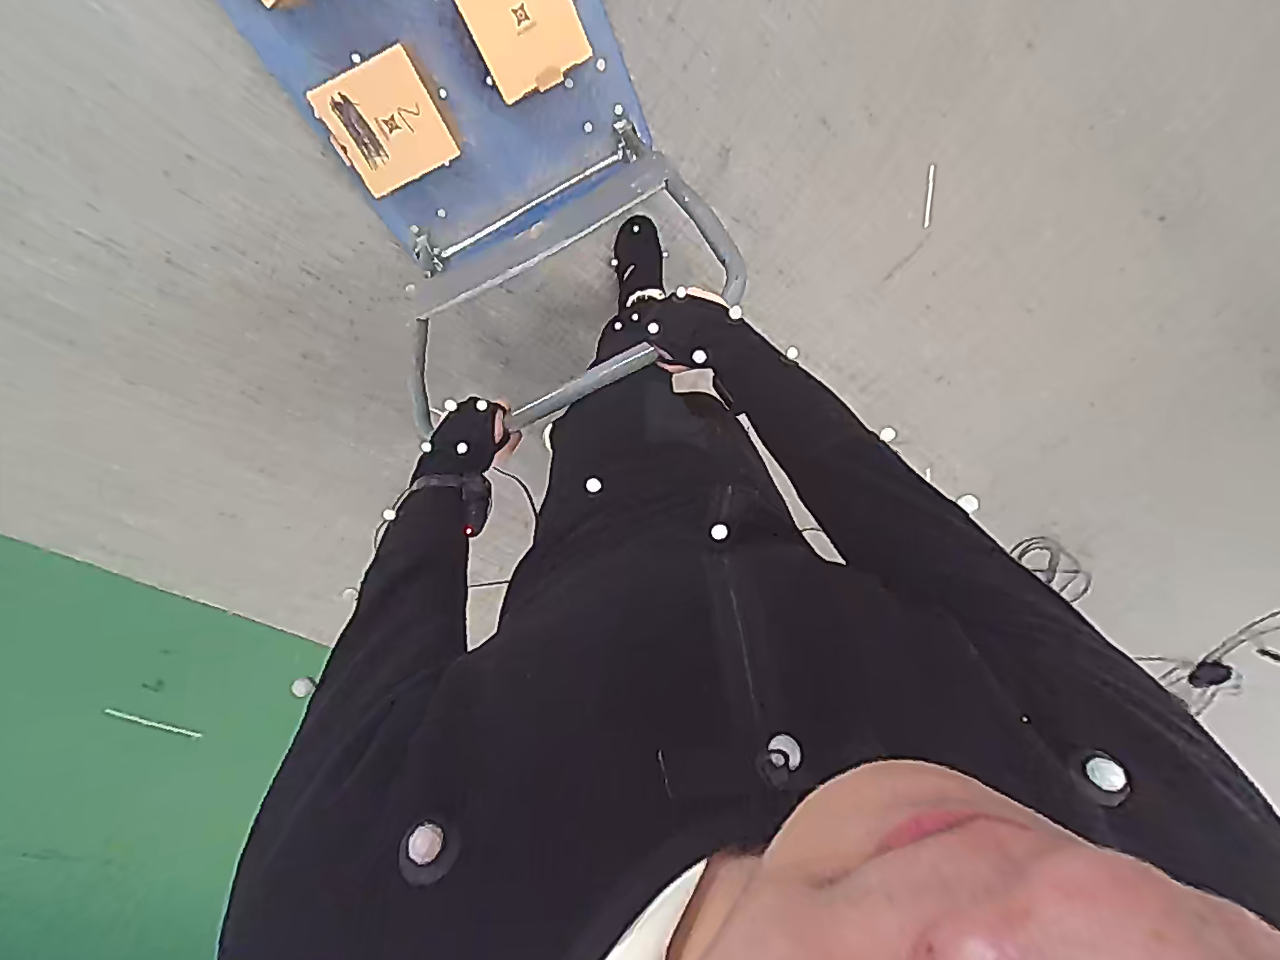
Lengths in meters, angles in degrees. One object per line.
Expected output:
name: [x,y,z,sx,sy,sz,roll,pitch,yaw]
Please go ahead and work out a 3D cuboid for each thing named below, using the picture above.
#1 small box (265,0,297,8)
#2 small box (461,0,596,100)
small box: [-0.523,-0.822,0.765,0.168,0.176,0.179,-32,131,11]
small box: [-0.194,-0.775,0.899,0.168,0.176,0.179,-26,133,7]
